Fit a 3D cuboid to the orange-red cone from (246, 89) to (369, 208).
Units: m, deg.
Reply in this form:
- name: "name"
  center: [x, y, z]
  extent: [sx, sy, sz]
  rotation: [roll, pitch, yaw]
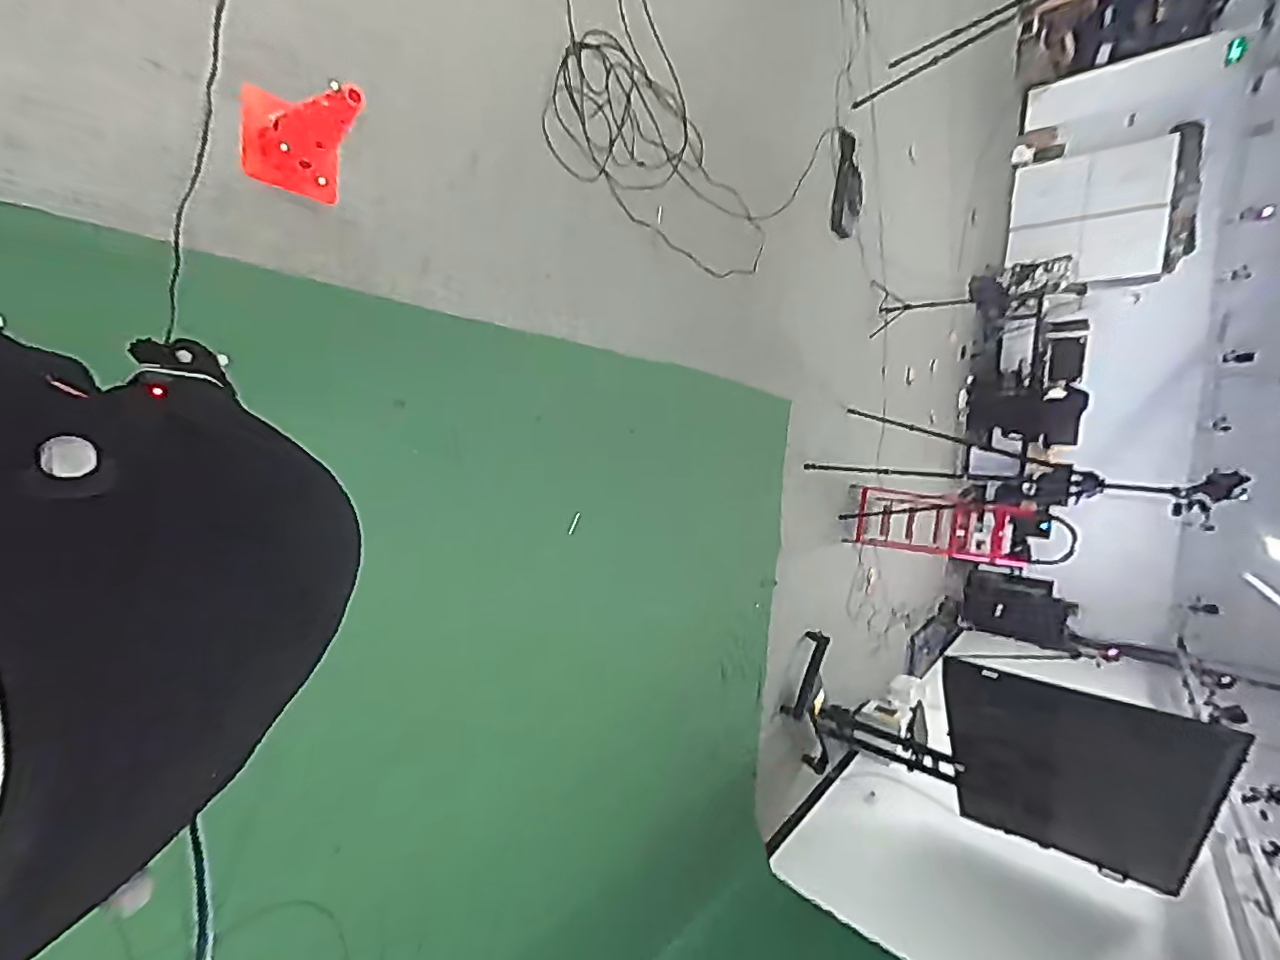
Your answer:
- name: "orange-red cone"
  center: [-0.686, -0.762, 1.172]
  extent: [0.198, 0.360, 0.199]
  rotation: [0, 94, -50]
